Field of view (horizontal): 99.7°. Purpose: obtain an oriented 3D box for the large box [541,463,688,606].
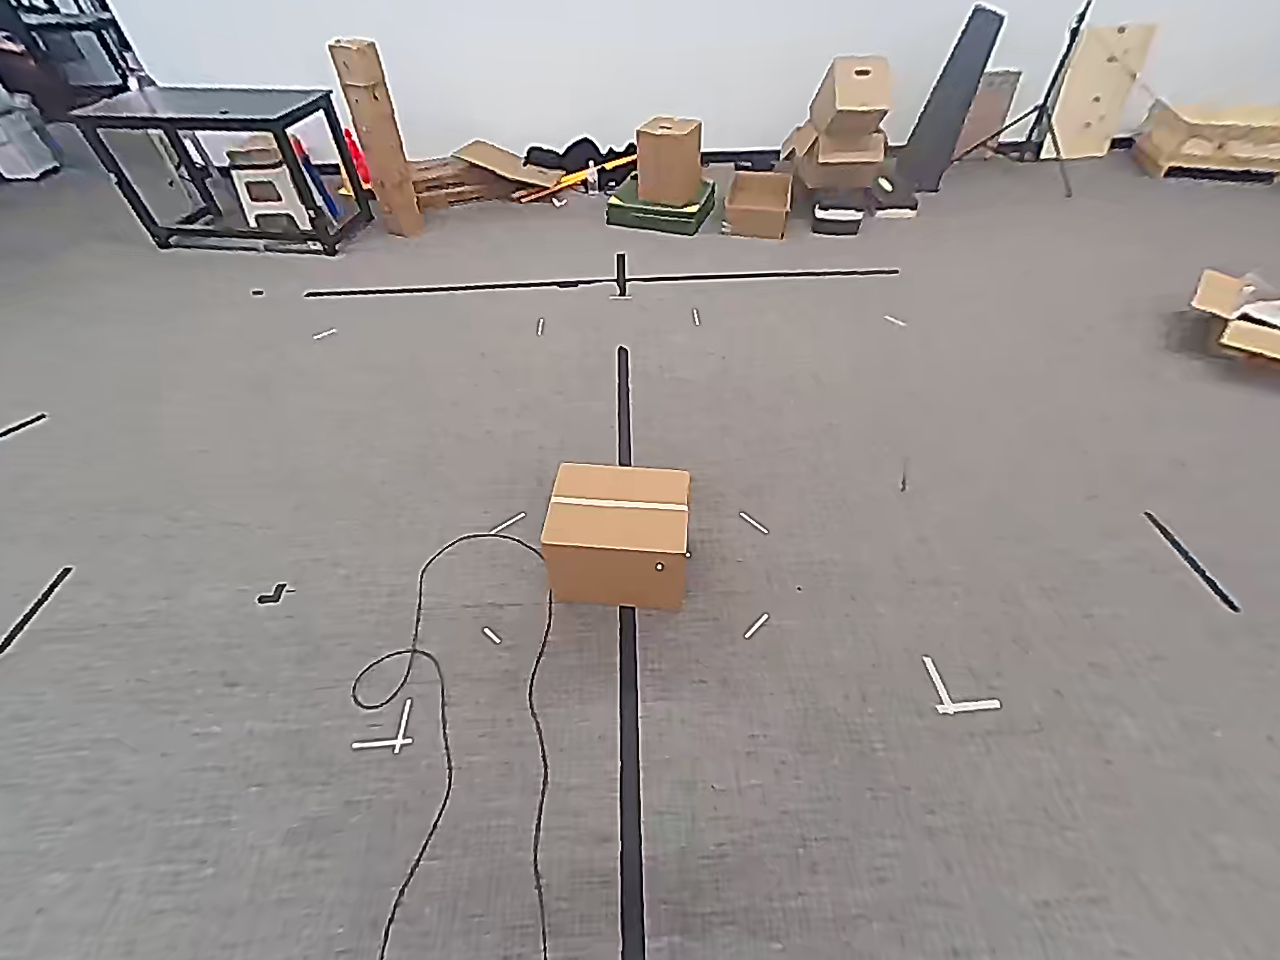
[{"bbox_3d":[-0.061,0.172,1.674,0.408,0.320,0.320,4,47,3],"label":"large box"}]
